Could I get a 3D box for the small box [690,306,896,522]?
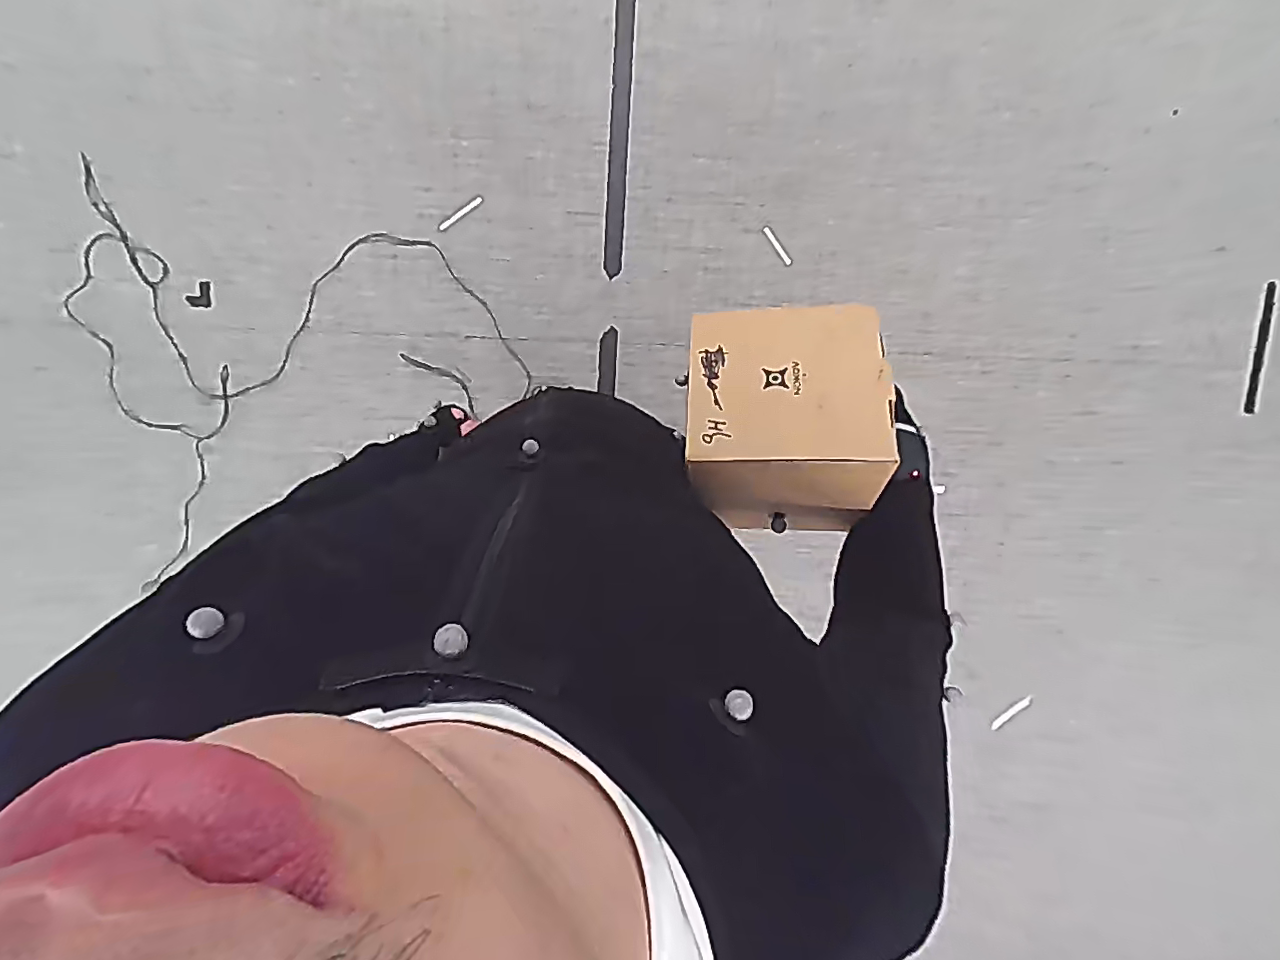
[{"bbox_3d":[0.147,-0.061,0.569,0.179,0.176,0.168,1,65,9],"label":"small box"}]
